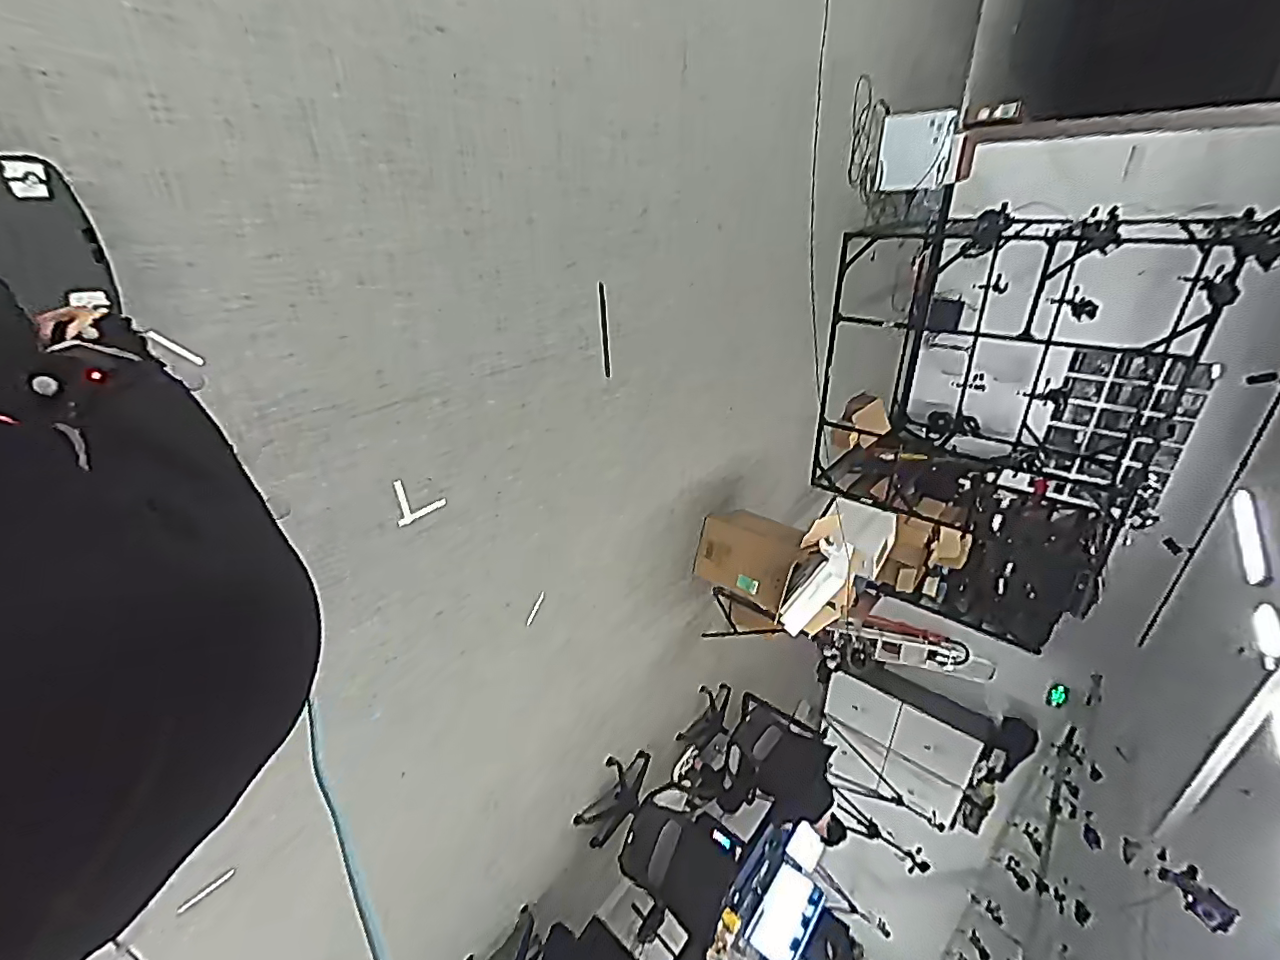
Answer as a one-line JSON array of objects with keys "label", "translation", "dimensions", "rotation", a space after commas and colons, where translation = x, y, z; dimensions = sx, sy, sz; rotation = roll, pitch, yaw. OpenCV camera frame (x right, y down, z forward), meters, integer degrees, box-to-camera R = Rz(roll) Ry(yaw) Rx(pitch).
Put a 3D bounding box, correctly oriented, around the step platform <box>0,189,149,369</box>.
[{"label": "step platform", "translation": [-1.212, -0.302, 0.822], "dimensions": [0.684, 0.204, 0.286], "rotation": [-26, 125, -46]}]
